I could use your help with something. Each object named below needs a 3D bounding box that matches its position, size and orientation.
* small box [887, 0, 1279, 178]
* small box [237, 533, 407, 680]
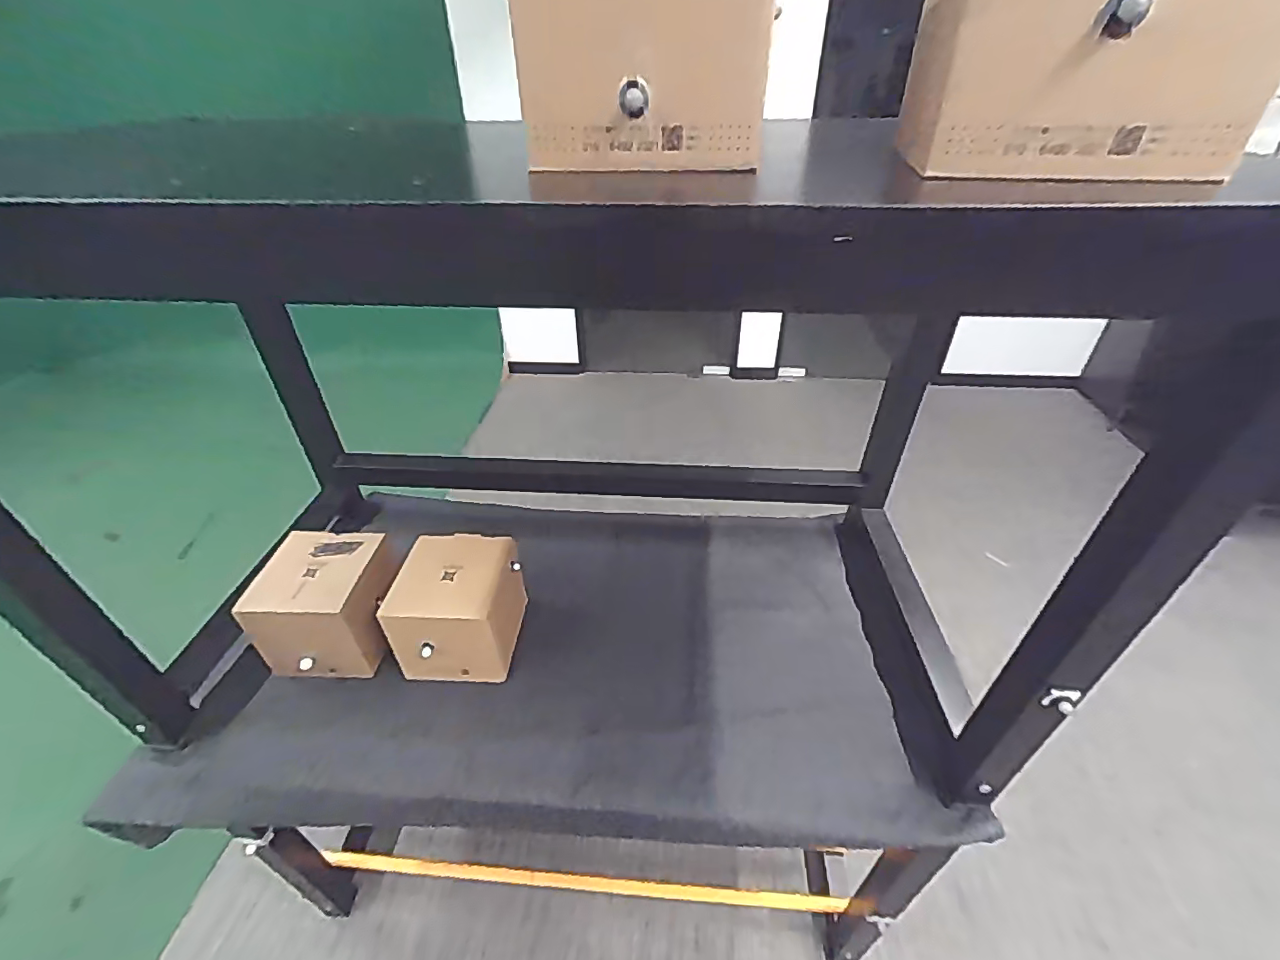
[{"bbox_3d":[0.270,-0.298,0.345,0.168,0.176,0.179,8,37,12],"label":"small box"},{"bbox_3d":[-0.515,0.210,0.910,0.168,0.176,0.179,0,37,2],"label":"small box"}]
